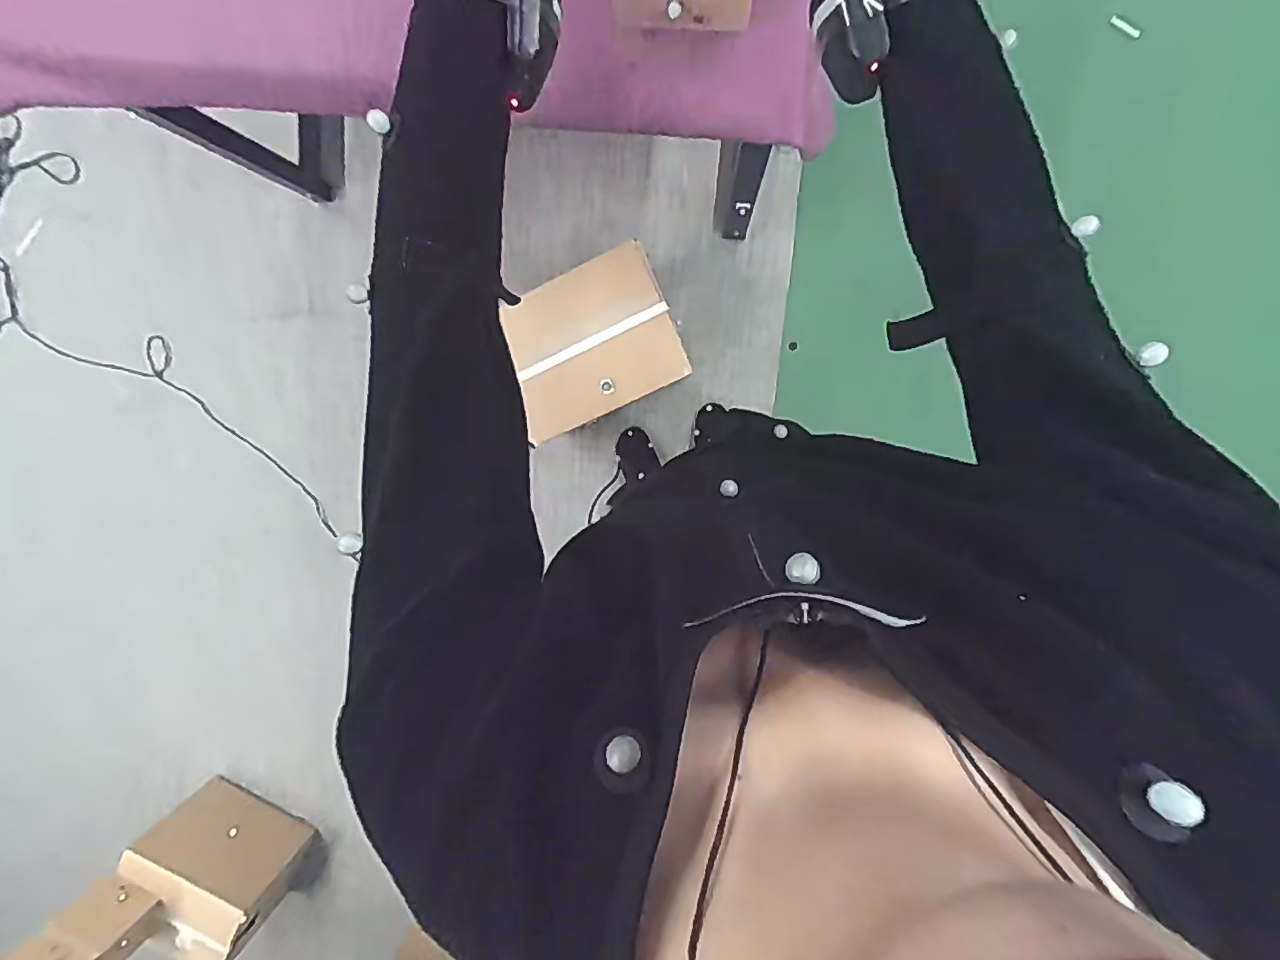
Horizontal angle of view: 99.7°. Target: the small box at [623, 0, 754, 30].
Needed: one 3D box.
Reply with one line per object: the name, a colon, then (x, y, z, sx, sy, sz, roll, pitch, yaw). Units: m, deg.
small box: (0.057, -0.644, 0.586, 0.168, 0.176, 0.179, 7, 99, 6)
